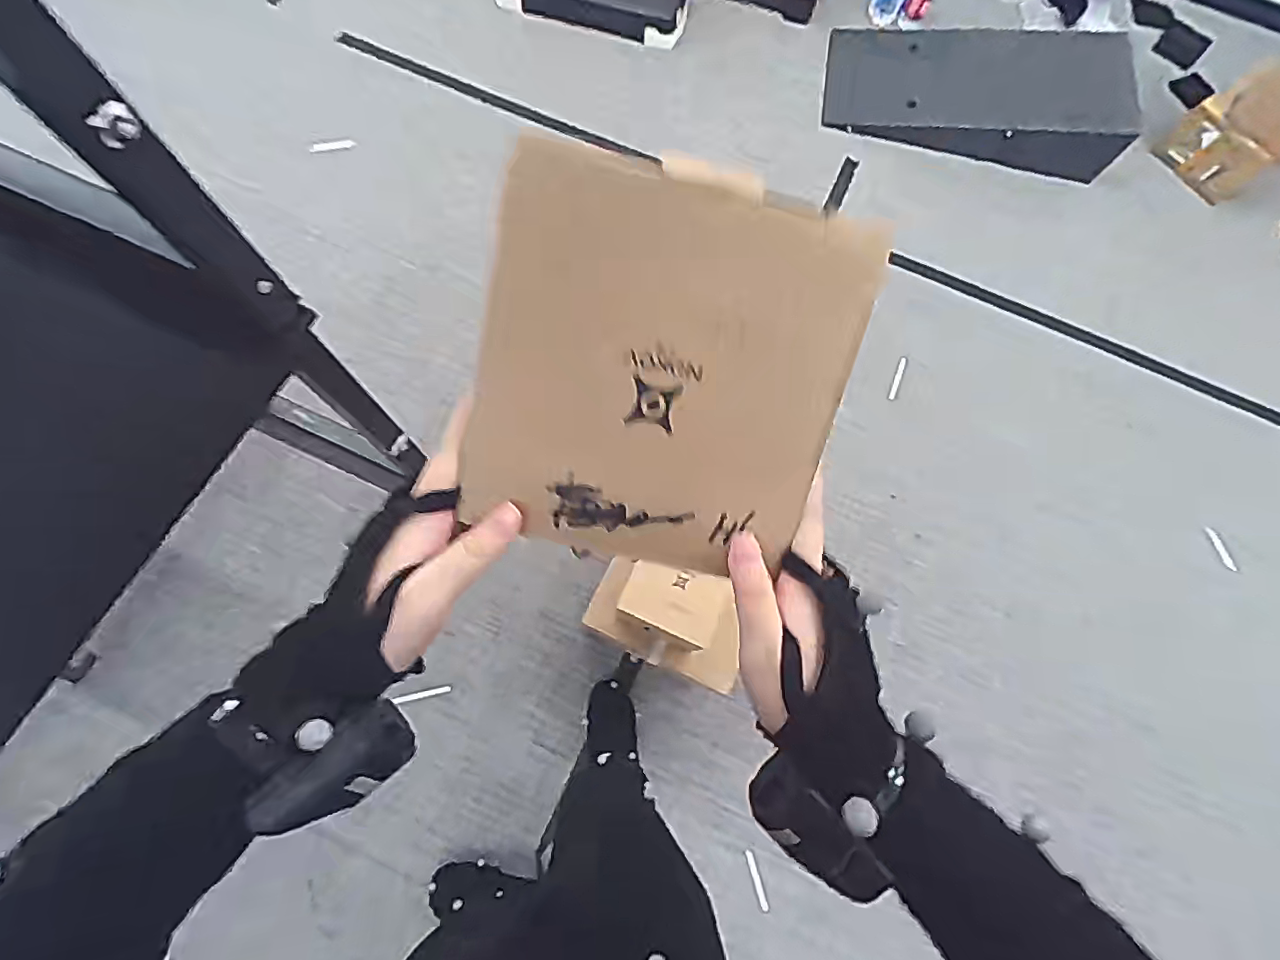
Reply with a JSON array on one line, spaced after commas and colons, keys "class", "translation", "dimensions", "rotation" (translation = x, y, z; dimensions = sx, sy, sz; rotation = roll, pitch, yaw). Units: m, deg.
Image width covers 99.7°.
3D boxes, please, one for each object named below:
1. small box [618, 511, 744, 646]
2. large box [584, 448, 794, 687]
[{"class": "small box", "translation": [0.065, 0.184, 0.977], "dimensions": [0.168, 0.176, 0.179], "rotation": [25, 73, 5]}, {"class": "large box", "translation": [0.095, 0.209, 1.229], "dimensions": [0.320, 0.320, 0.408], "rotation": [27, 72, 3]}]
